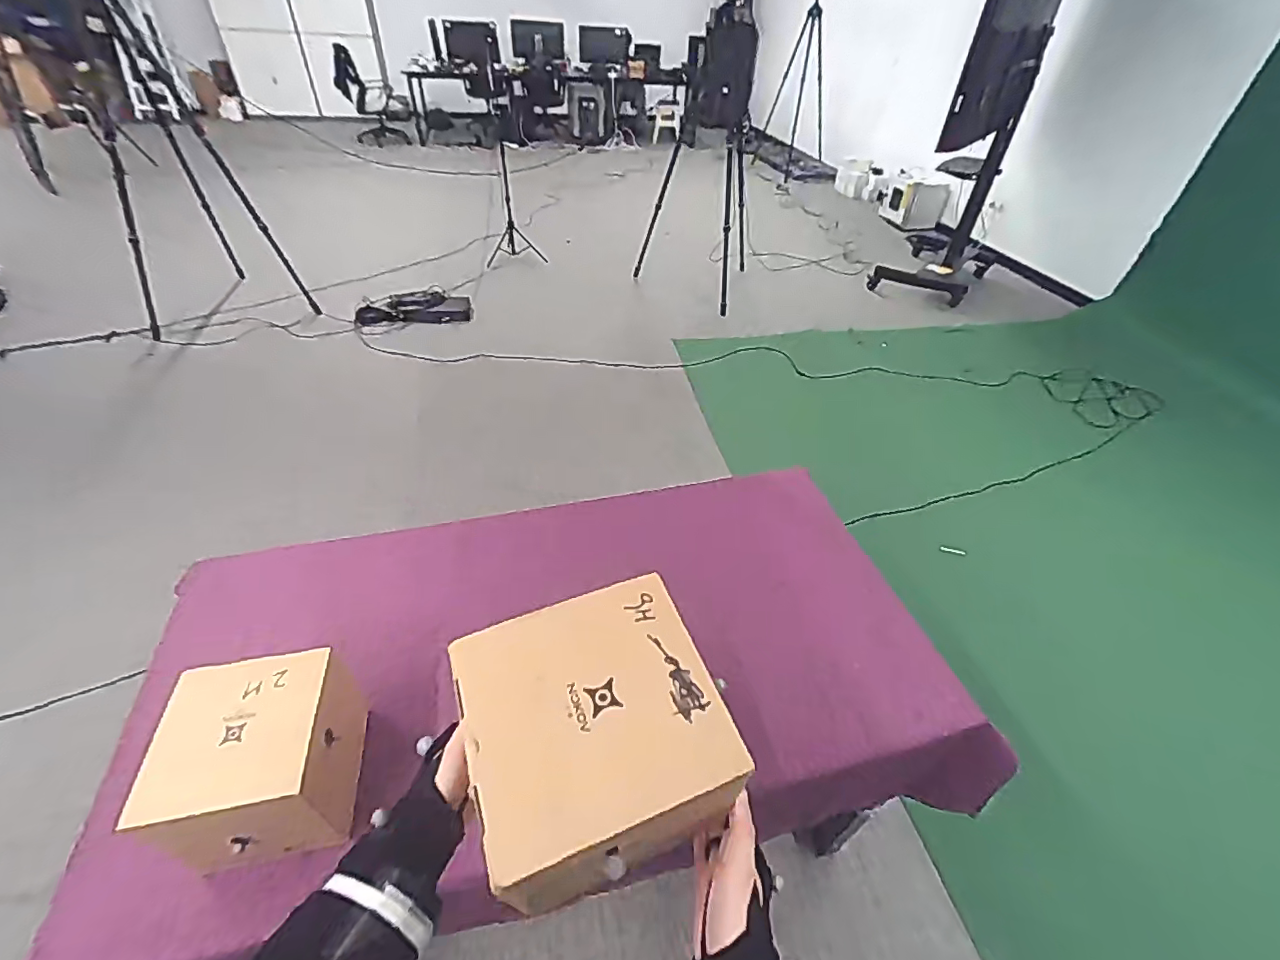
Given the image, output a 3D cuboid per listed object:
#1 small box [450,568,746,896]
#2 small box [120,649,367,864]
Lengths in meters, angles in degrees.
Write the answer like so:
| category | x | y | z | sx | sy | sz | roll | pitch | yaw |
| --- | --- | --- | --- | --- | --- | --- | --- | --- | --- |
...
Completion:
| category | x | y | z | sx | sy | sz | roll | pitch | yaw |
| --- | --- | --- | --- | --- | --- | --- | --- | --- | --- |
| small box | -0.036 | 0.206 | 0.441 | 0.179 | 0.176 | 0.168 | -16 | 50 | -14 |
| small box | -0.449 | 0.336 | 0.654 | 0.168 | 0.176 | 0.179 | -6 | 43 | -11 |
